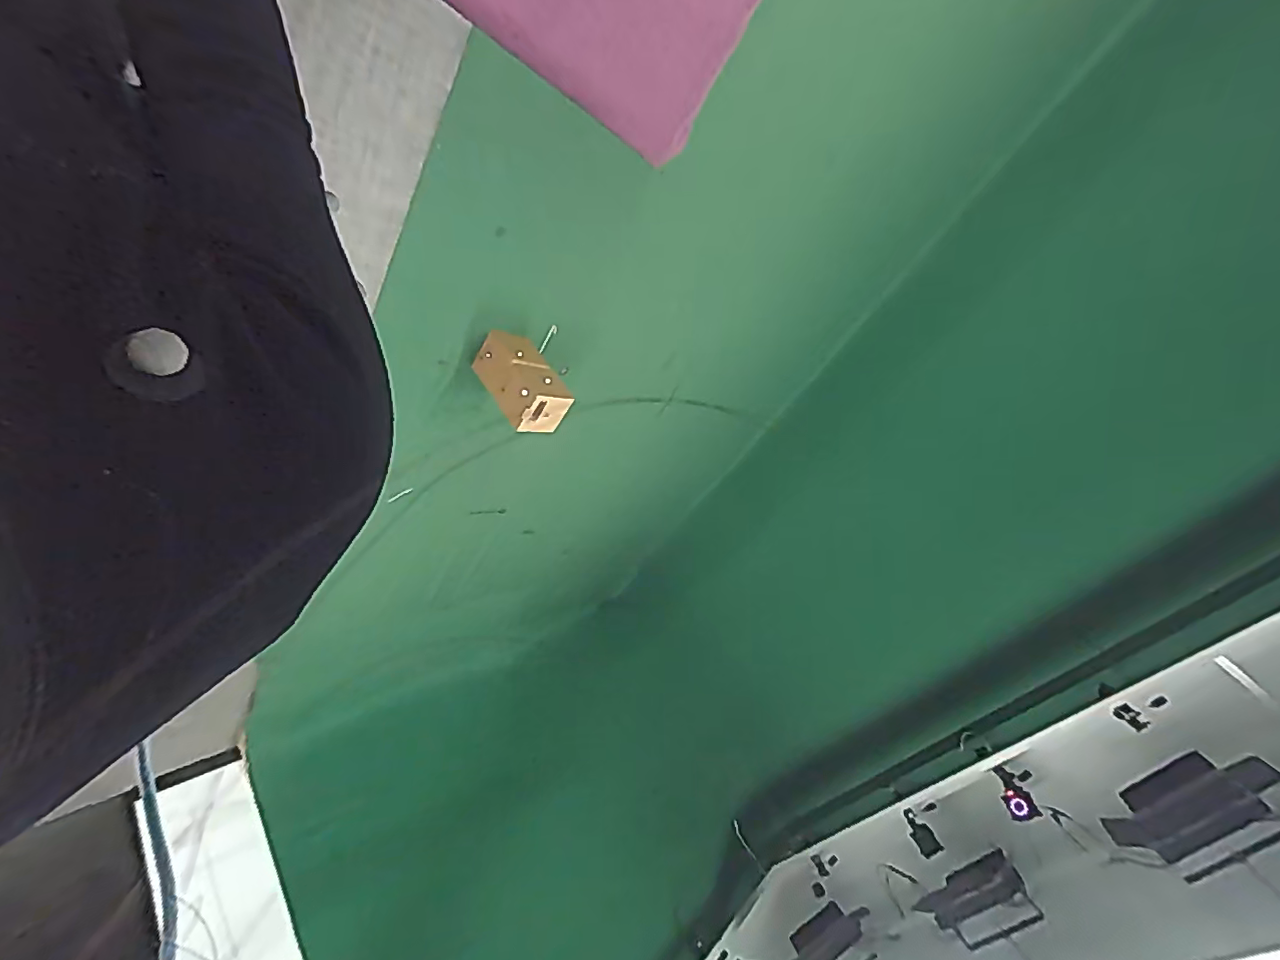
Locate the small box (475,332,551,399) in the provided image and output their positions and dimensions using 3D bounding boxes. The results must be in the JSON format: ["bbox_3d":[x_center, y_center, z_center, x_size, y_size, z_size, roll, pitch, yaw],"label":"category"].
[{"bbox_3d":[-0.463,-0.415,1.964,0.179,0.176,0.168,-2,139,-52],"label":"small box"}]
